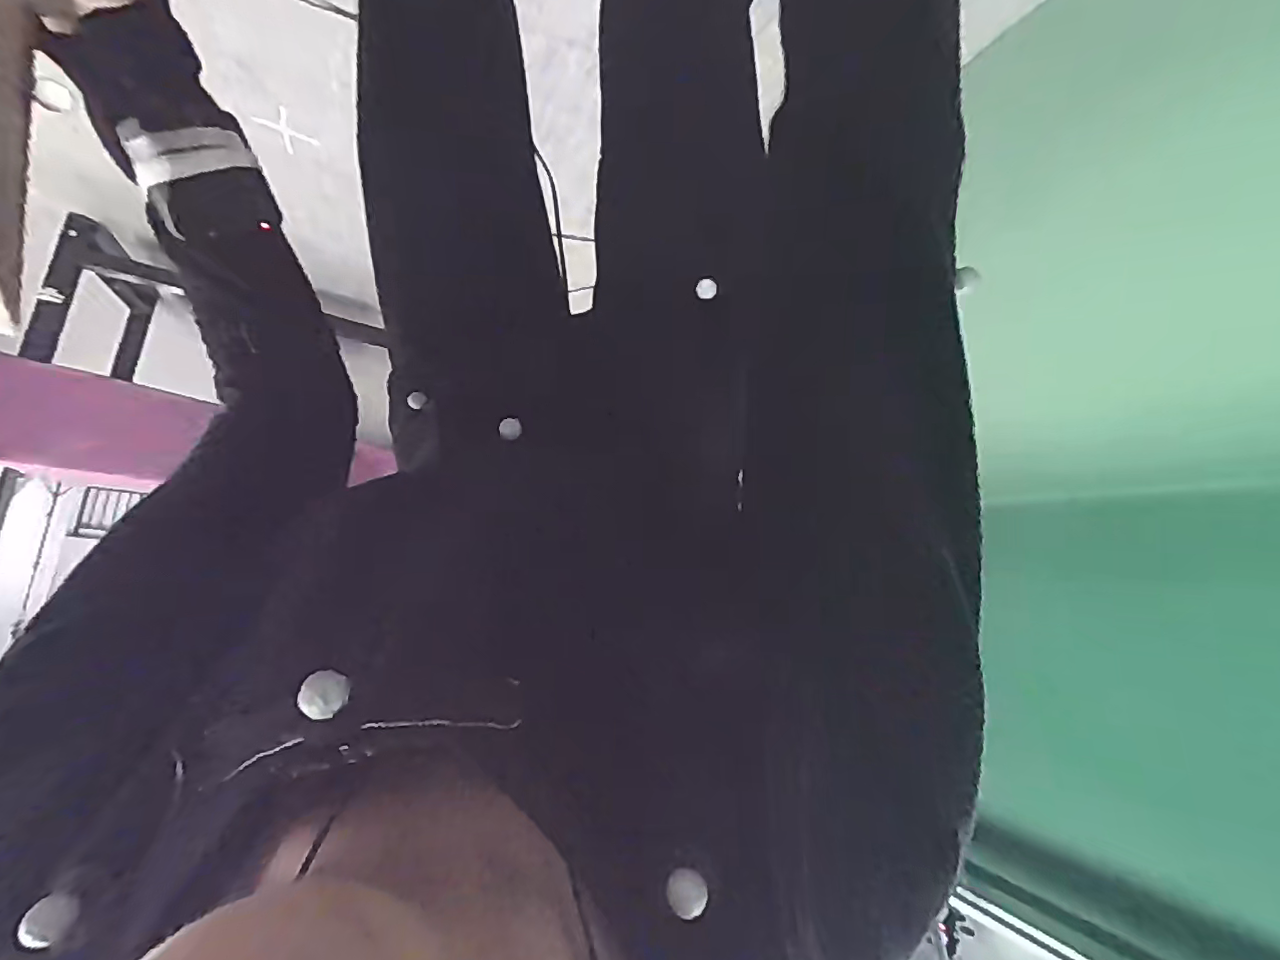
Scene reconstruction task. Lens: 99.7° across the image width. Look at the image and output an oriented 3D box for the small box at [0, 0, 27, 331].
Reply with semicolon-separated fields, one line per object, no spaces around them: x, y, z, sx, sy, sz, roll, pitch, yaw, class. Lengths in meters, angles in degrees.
-0.280;-0.154;0.135;0.176;0.179;0.168;-1;177;44;small box
